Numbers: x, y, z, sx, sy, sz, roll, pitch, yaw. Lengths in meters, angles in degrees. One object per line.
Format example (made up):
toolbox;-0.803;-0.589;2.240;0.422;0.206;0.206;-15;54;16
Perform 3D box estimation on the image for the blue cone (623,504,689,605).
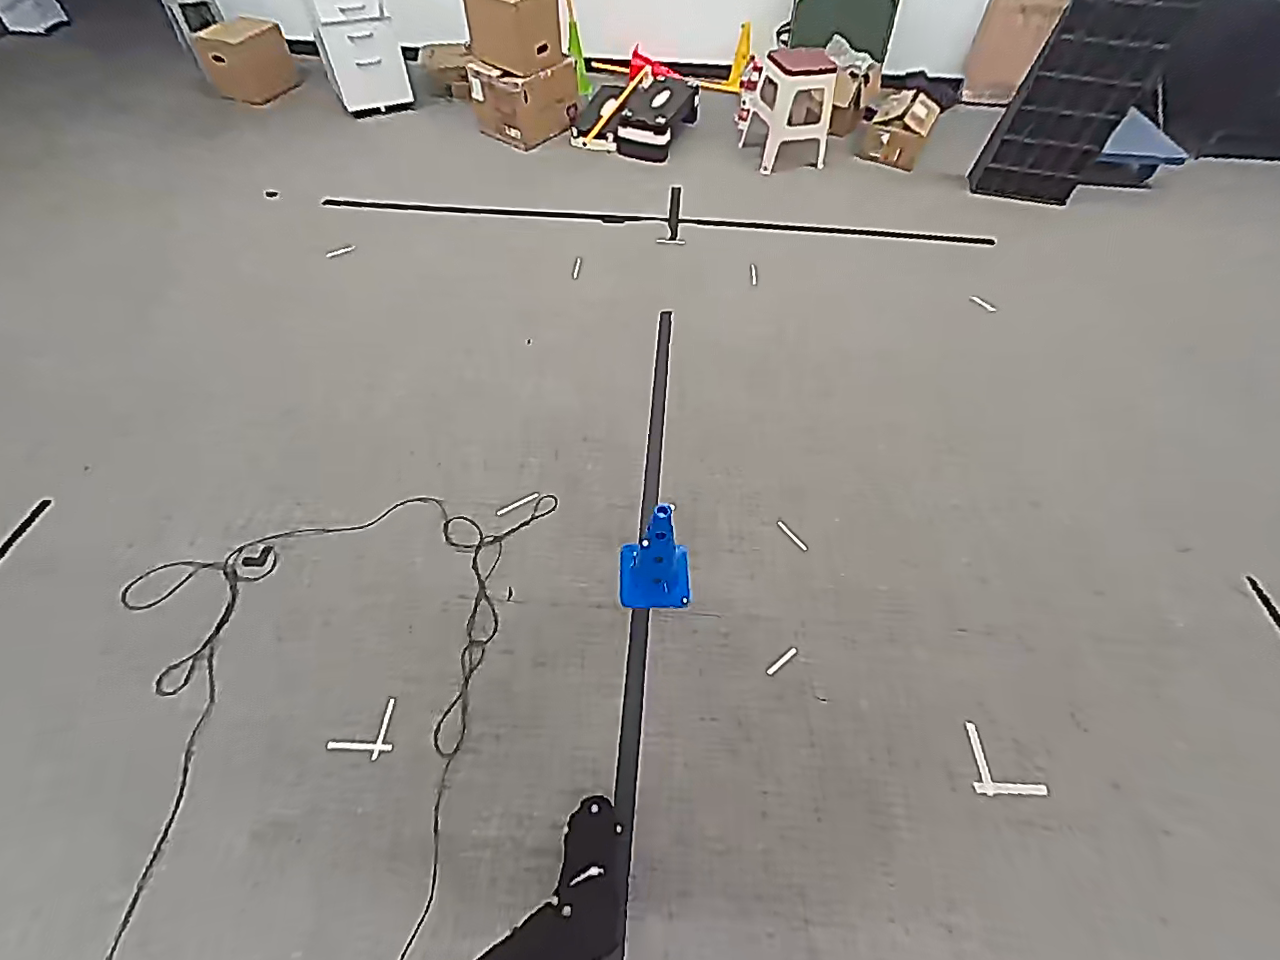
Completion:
blue cone;0.054;0.179;1.444;0.192;0.380;0.193;2;55;-2
